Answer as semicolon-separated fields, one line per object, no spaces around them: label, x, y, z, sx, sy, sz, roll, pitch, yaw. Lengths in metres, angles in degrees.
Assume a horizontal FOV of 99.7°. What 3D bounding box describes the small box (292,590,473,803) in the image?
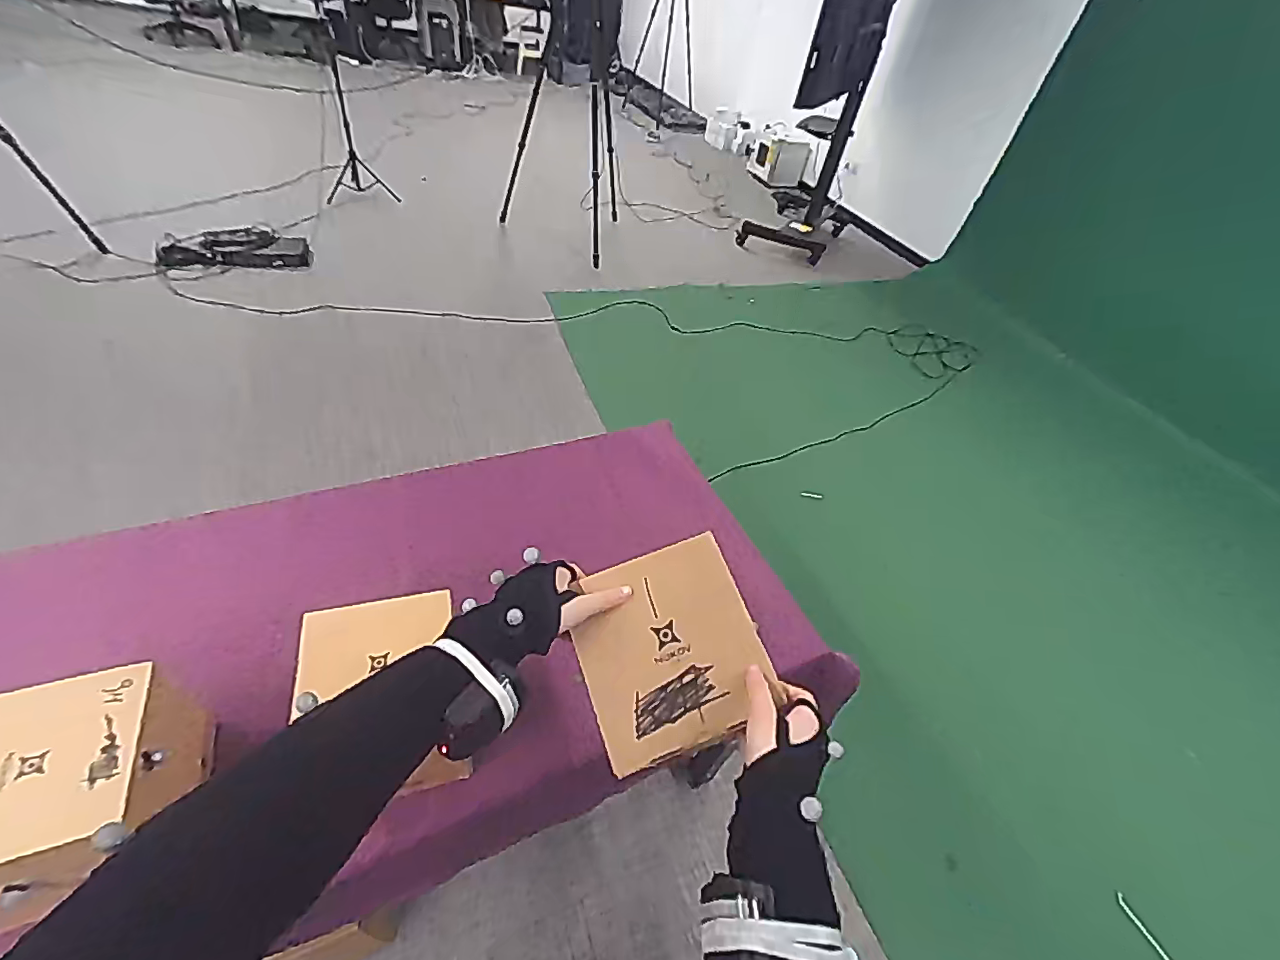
small box;-0.302;0.264;0.666;0.168;0.176;0.179;-7;49;-18

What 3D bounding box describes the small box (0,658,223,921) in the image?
small box;-0.573;0.316;0.555;0.179;0.176;0.168;-11;50;-20

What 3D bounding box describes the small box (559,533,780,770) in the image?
small box;0.026;0.182;0.582;0.168;0.176;0.179;-19;68;-8
